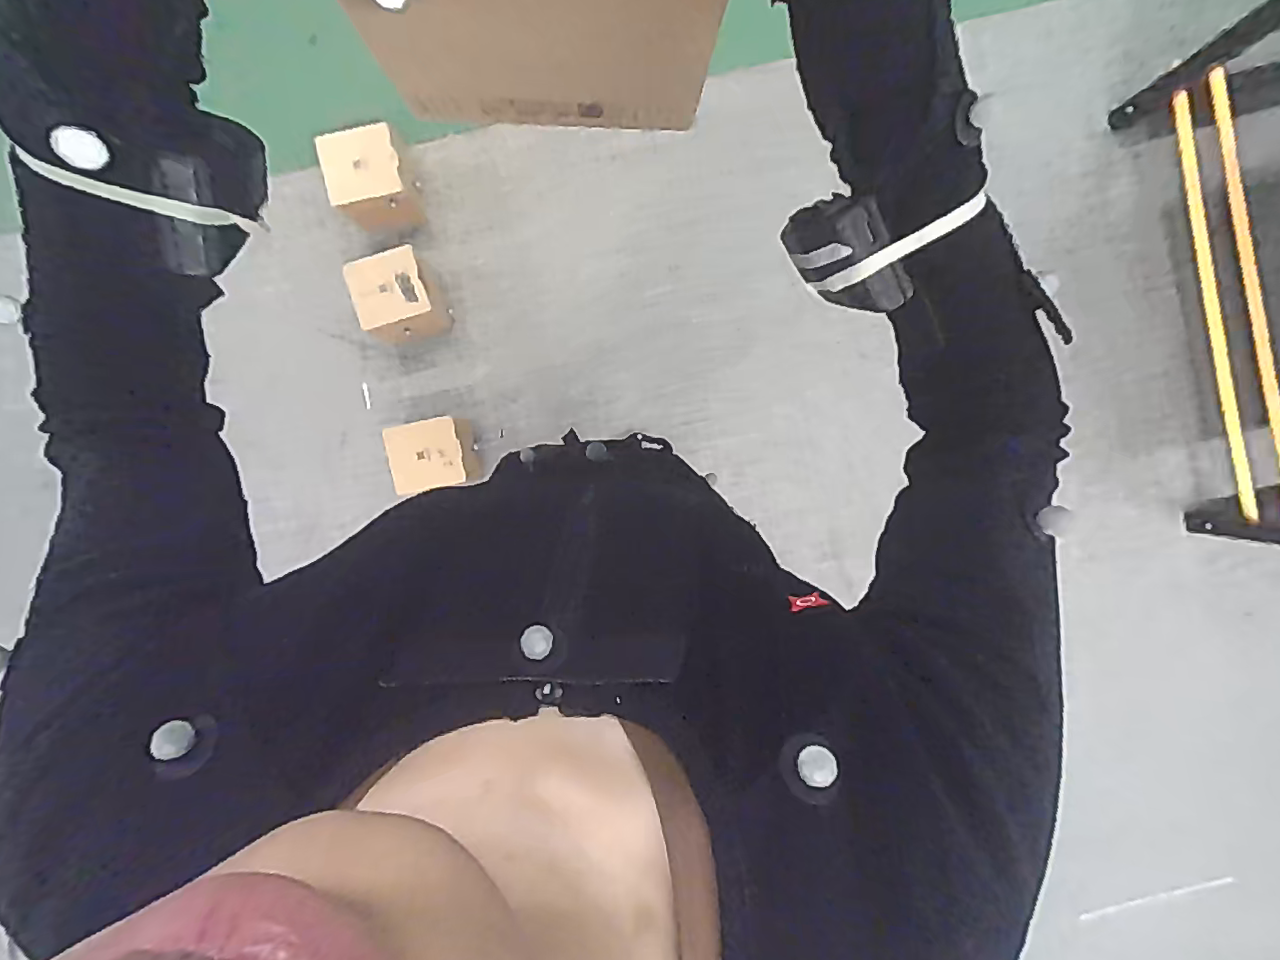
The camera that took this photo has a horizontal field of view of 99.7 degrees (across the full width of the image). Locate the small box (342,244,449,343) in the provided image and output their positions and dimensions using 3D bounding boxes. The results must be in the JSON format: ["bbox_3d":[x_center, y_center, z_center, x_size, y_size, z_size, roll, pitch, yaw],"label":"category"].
[{"bbox_3d":[-0.599,-0.460,1.355,0.179,0.176,0.168,-18,92,0],"label":"small box"}]

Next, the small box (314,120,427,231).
[{"bbox_3d":[-0.660,-0.746,1.343,0.179,0.176,0.168,-14,93,-1],"label":"small box"}]

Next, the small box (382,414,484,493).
[{"bbox_3d":[-0.516,-0.066,1.370,0.179,0.176,0.168,-12,94,-2],"label":"small box"}]
